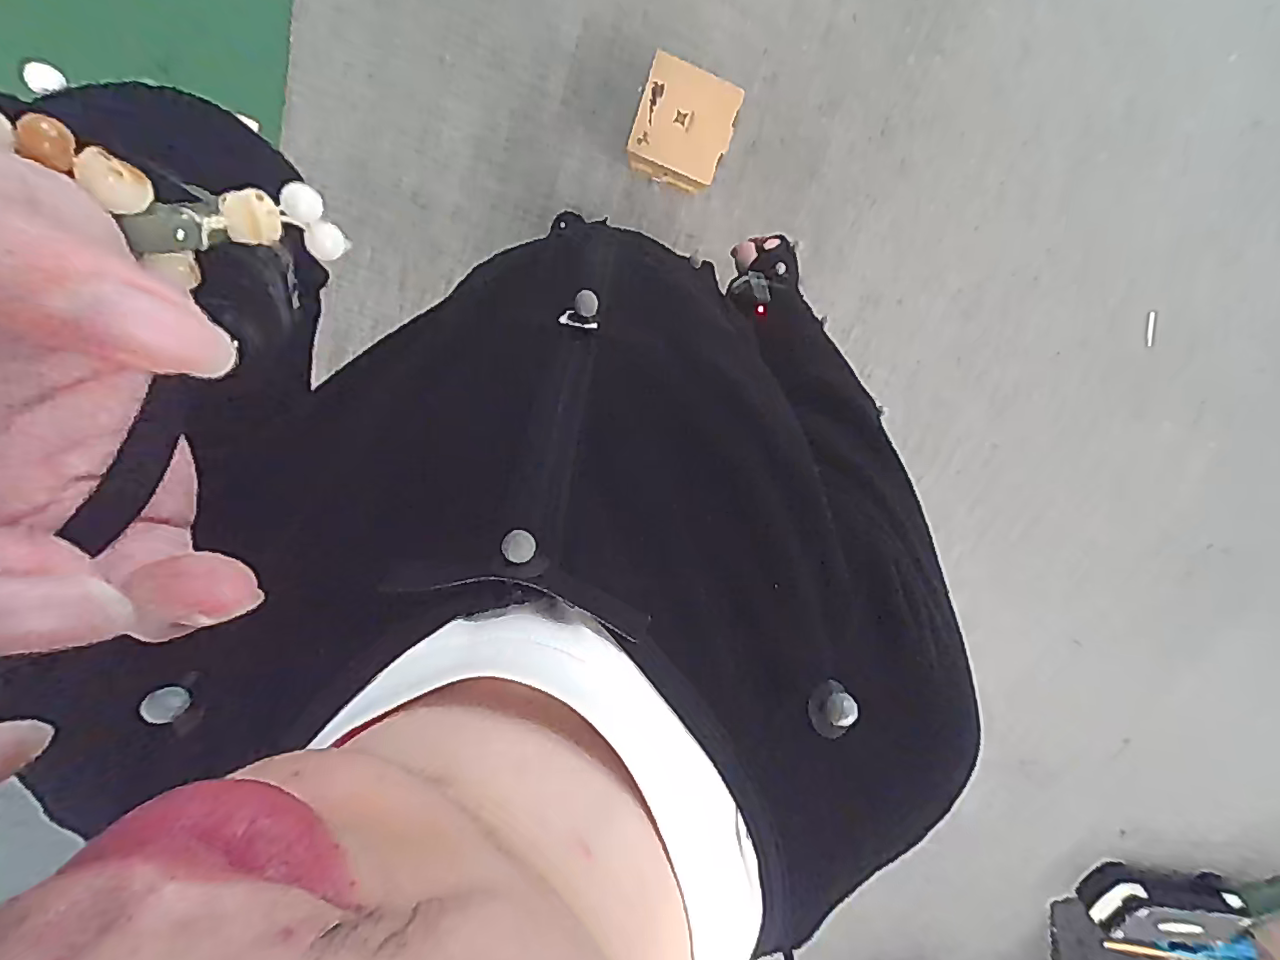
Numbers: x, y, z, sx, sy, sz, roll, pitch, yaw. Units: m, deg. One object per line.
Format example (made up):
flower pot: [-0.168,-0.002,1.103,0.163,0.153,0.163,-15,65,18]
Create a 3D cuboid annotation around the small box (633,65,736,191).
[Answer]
small box: [0.090,-0.766,1.199,0.168,0.176,0.179,21,114,-9]
